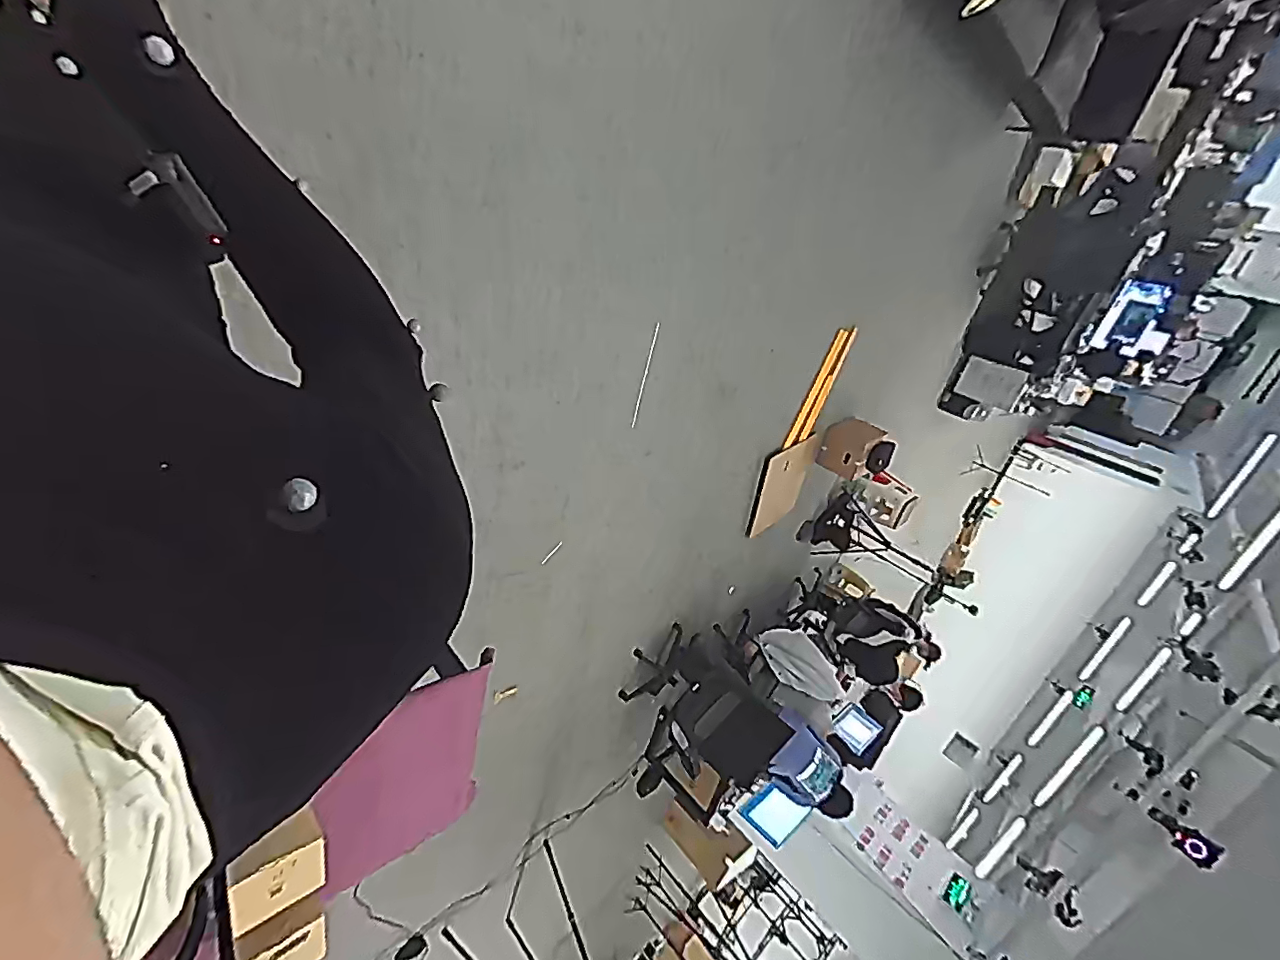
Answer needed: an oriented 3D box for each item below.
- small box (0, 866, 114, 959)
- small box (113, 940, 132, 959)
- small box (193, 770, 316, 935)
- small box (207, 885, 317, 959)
[{"bbox_3d":[-0.969,0.778,0.867,0.168,0.176,0.179,-12,127,-44],"label":"small box"},{"bbox_3d":[-1.026,1.007,0.986,0.168,0.176,0.179,-14,127,-45],"label":"small box"},{"bbox_3d":[-0.756,0.722,1.066,0.168,0.176,0.179,-13,128,-45],"label":"small box"},{"bbox_3d":[-0.827,0.970,1.186,0.168,0.176,0.179,-12,127,-44],"label":"small box"}]
